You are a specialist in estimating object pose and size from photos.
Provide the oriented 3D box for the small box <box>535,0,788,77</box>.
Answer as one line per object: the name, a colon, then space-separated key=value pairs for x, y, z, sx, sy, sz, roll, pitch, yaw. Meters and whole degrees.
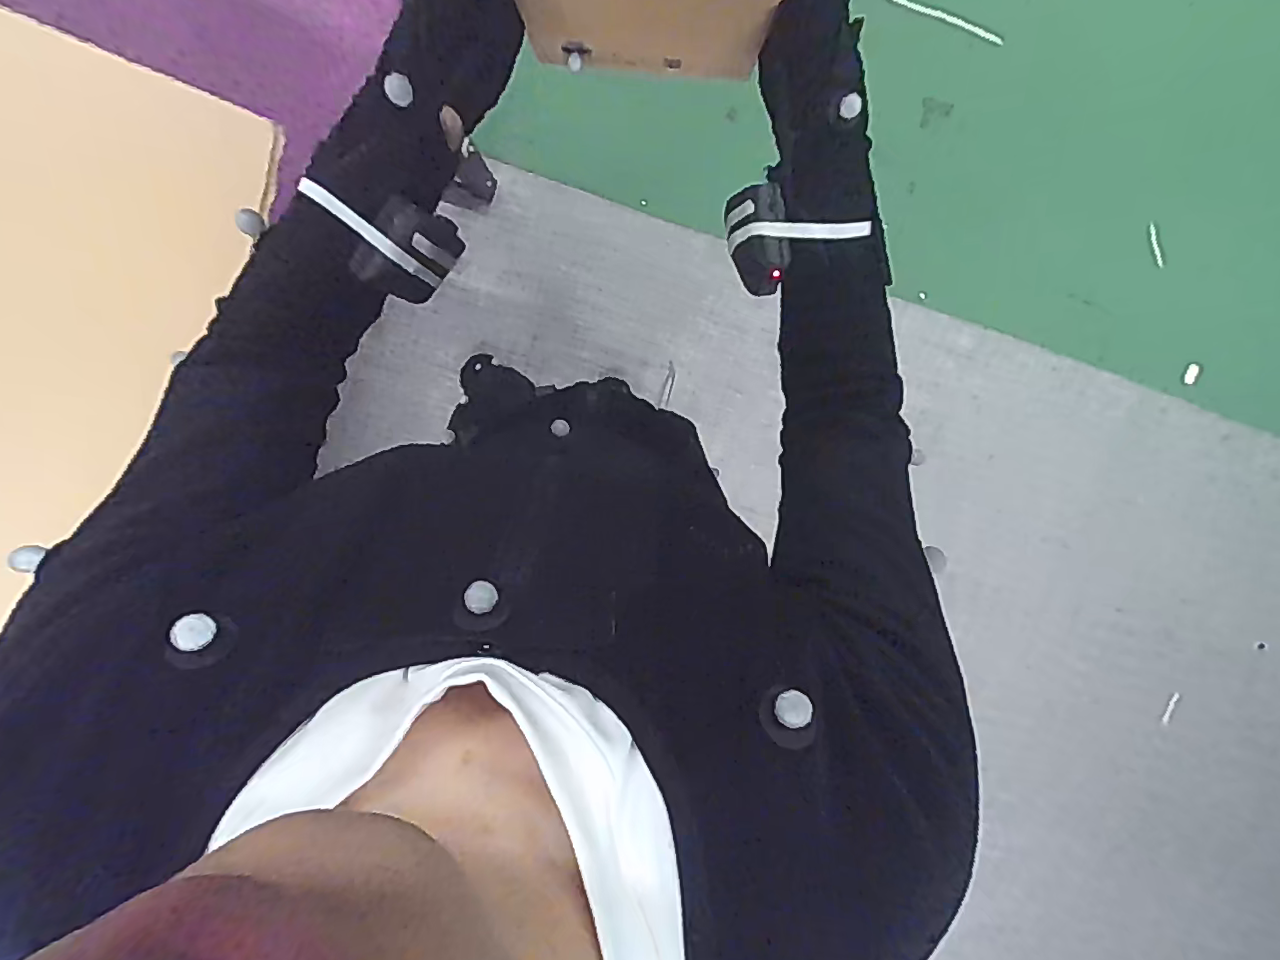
small box: x=0.019 y=-0.375 z=0.319 sx=0.168 sy=0.176 sz=0.179 roll=5 pitch=106 yaw=-1
